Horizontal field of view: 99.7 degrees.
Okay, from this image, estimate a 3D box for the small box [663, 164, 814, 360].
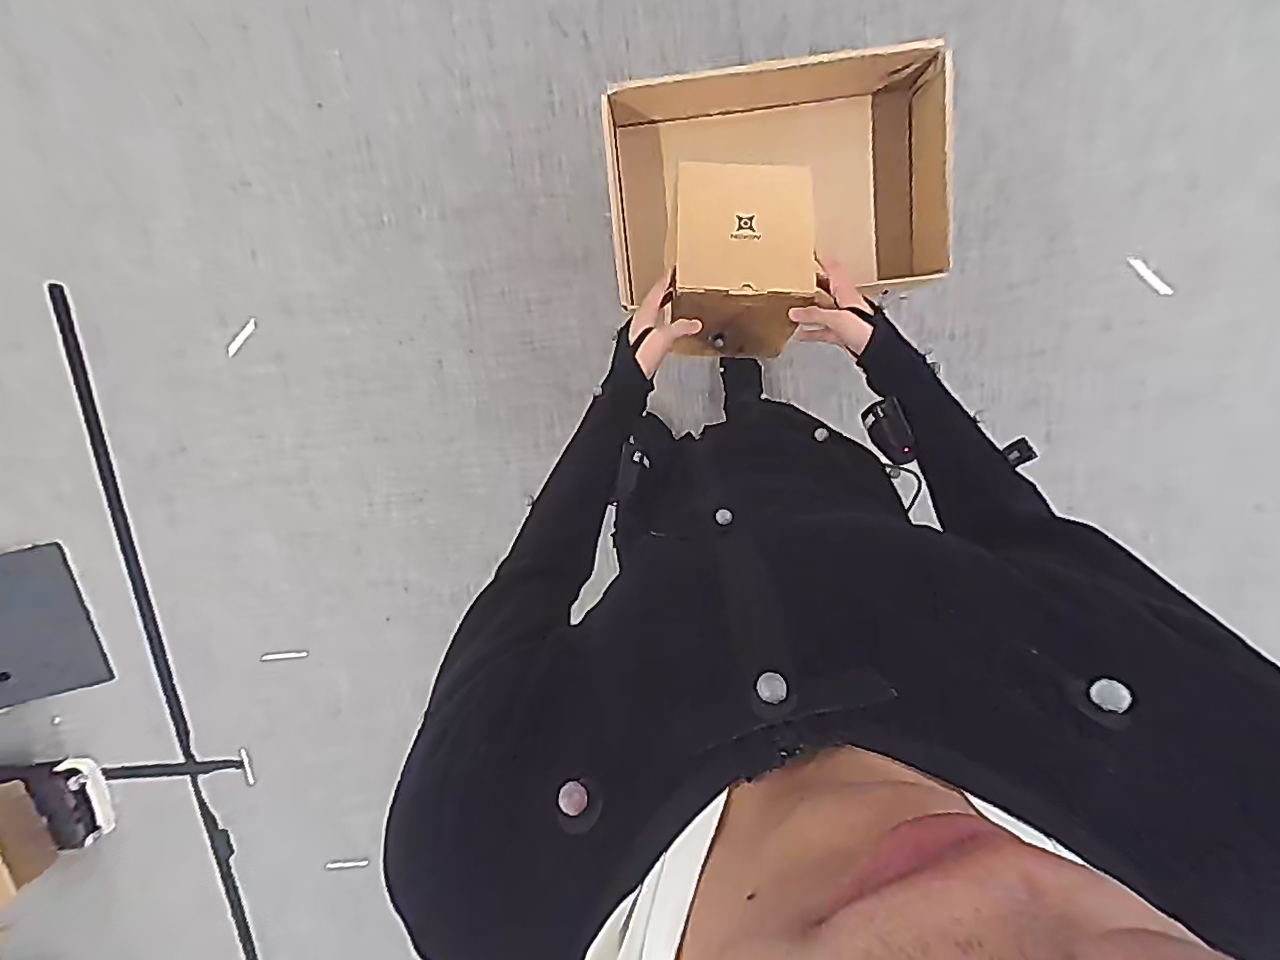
[{"bbox_3d":[0.118,-0.278,0.716,0.168,0.176,0.179,1,78,-2],"label":"small box"}]
